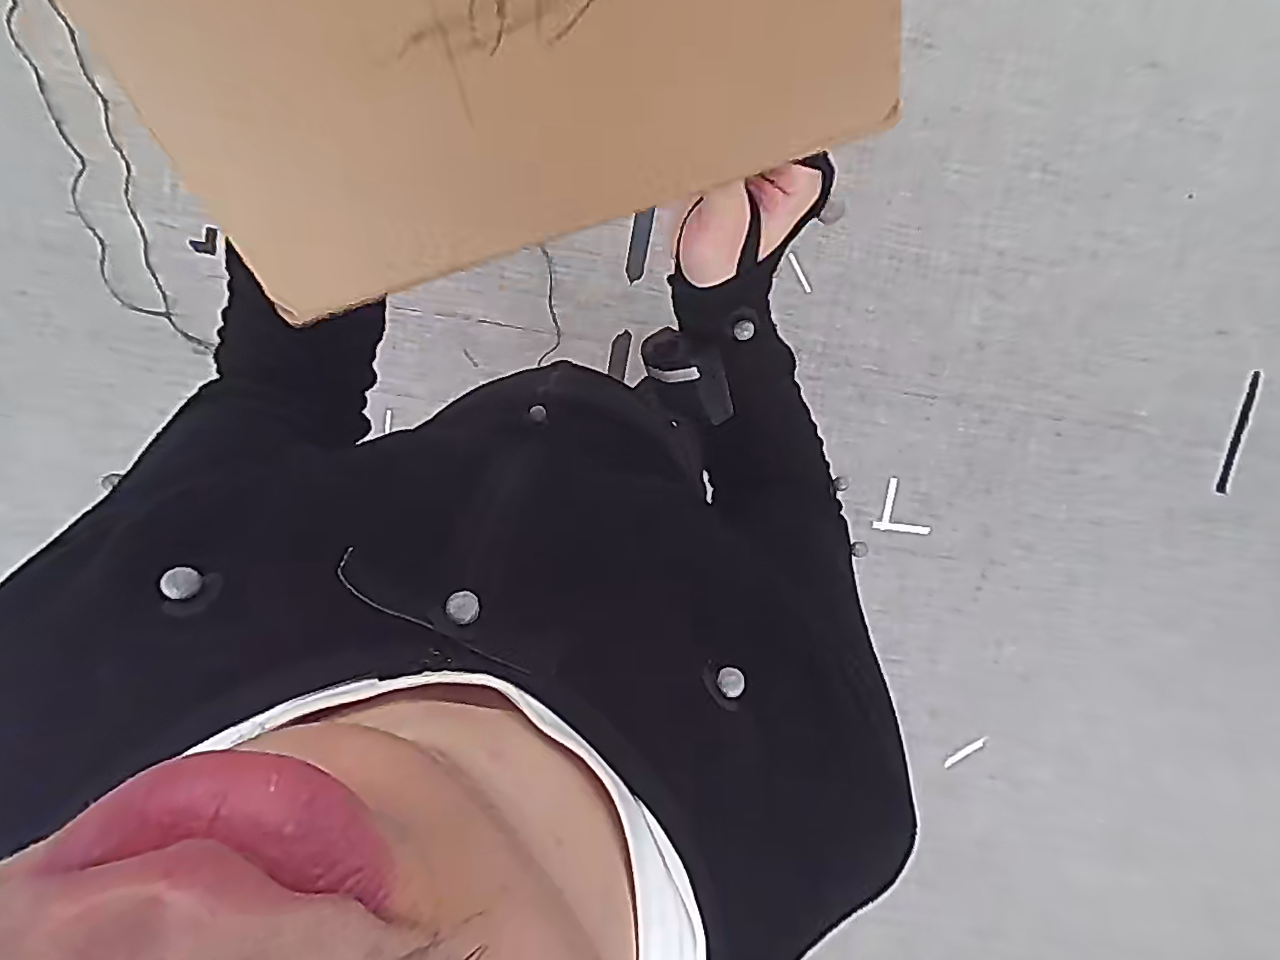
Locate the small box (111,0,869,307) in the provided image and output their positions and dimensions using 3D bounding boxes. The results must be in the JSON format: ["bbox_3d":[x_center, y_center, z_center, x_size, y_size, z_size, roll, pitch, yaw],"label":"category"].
[{"bbox_3d":[-0.041,-0.184,0.163,0.168,0.176,0.179,-11,128,15],"label":"small box"}]
